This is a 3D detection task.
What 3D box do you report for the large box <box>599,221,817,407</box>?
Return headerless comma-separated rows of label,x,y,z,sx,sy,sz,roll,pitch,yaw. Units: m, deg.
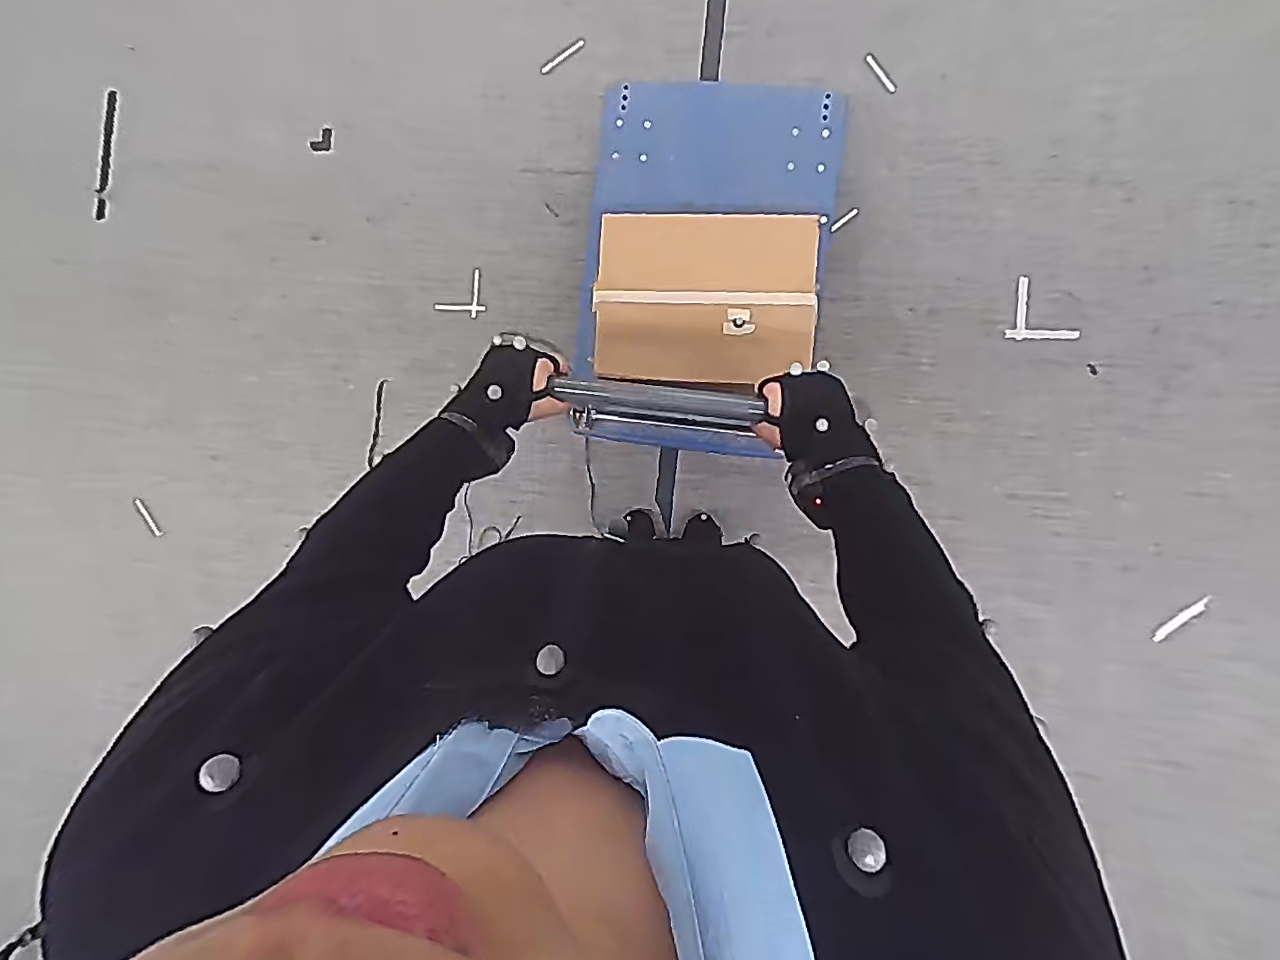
large box,0.135,-0.333,1.164,0.408,0.320,0.320,3,91,5
